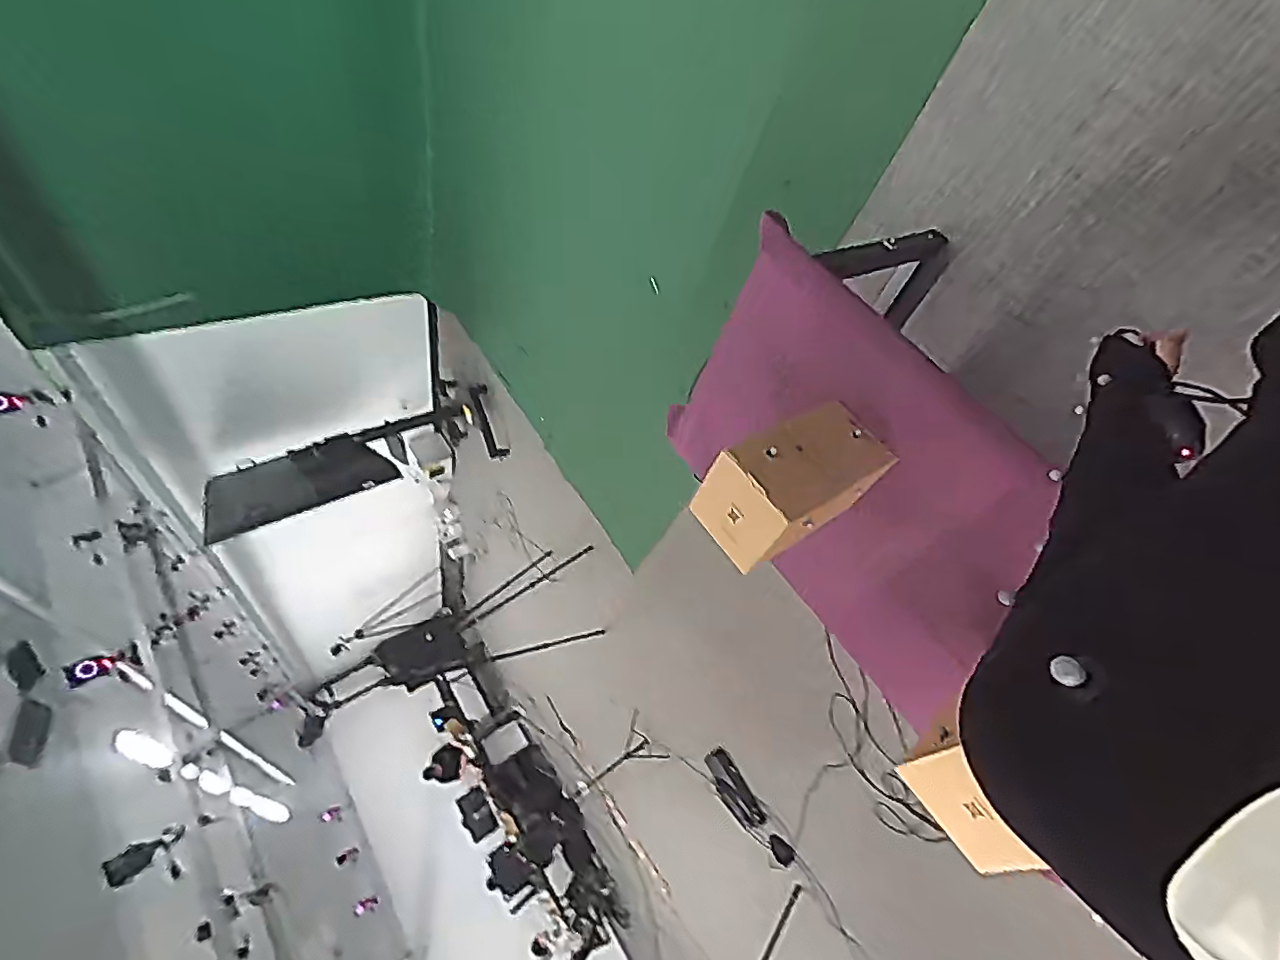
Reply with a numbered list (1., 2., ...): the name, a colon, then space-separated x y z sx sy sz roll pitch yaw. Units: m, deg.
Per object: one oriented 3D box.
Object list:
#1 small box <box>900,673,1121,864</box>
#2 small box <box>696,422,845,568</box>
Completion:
1. small box: 0.529 0.413 0.781 0.168 0.176 0.179 52 145 24
2. small box: 0.235 0.022 0.971 0.168 0.176 0.179 52 146 23
